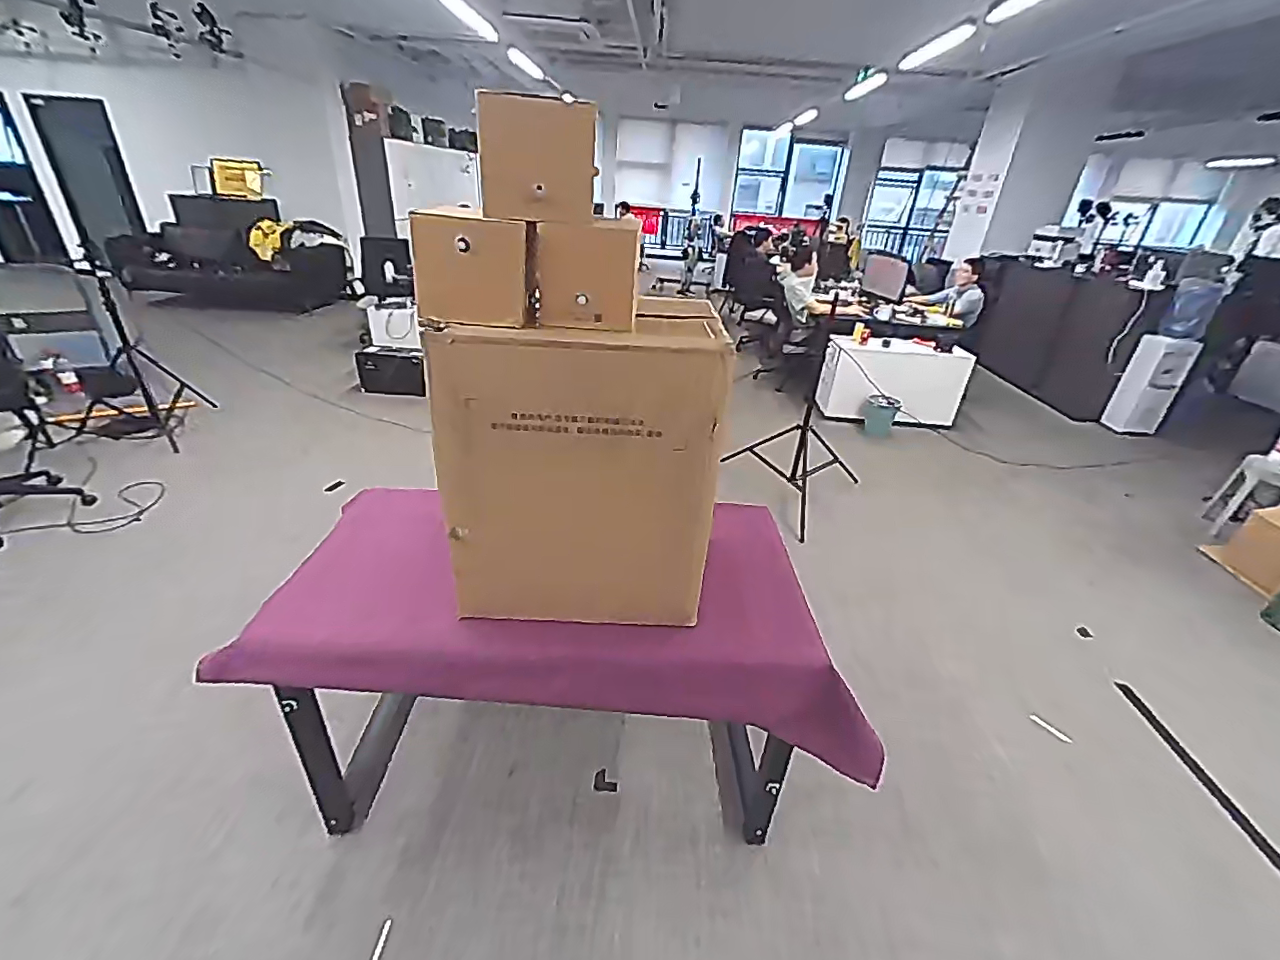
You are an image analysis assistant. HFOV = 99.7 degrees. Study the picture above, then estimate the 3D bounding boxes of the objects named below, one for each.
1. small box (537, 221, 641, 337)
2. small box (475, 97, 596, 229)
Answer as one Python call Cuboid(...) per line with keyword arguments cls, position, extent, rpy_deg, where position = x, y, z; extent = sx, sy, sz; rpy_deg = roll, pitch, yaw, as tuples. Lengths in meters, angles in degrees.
Cuboid(cls="small box", position=(-0.088, -0.369, 0.978), extent=(0.168, 0.176, 0.179), rpy_deg=(4, 31, 0))
Cuboid(cls="small box", position=(-0.170, -0.514, 0.892), extent=(0.179, 0.176, 0.168), rpy_deg=(-1, 30, -11))
